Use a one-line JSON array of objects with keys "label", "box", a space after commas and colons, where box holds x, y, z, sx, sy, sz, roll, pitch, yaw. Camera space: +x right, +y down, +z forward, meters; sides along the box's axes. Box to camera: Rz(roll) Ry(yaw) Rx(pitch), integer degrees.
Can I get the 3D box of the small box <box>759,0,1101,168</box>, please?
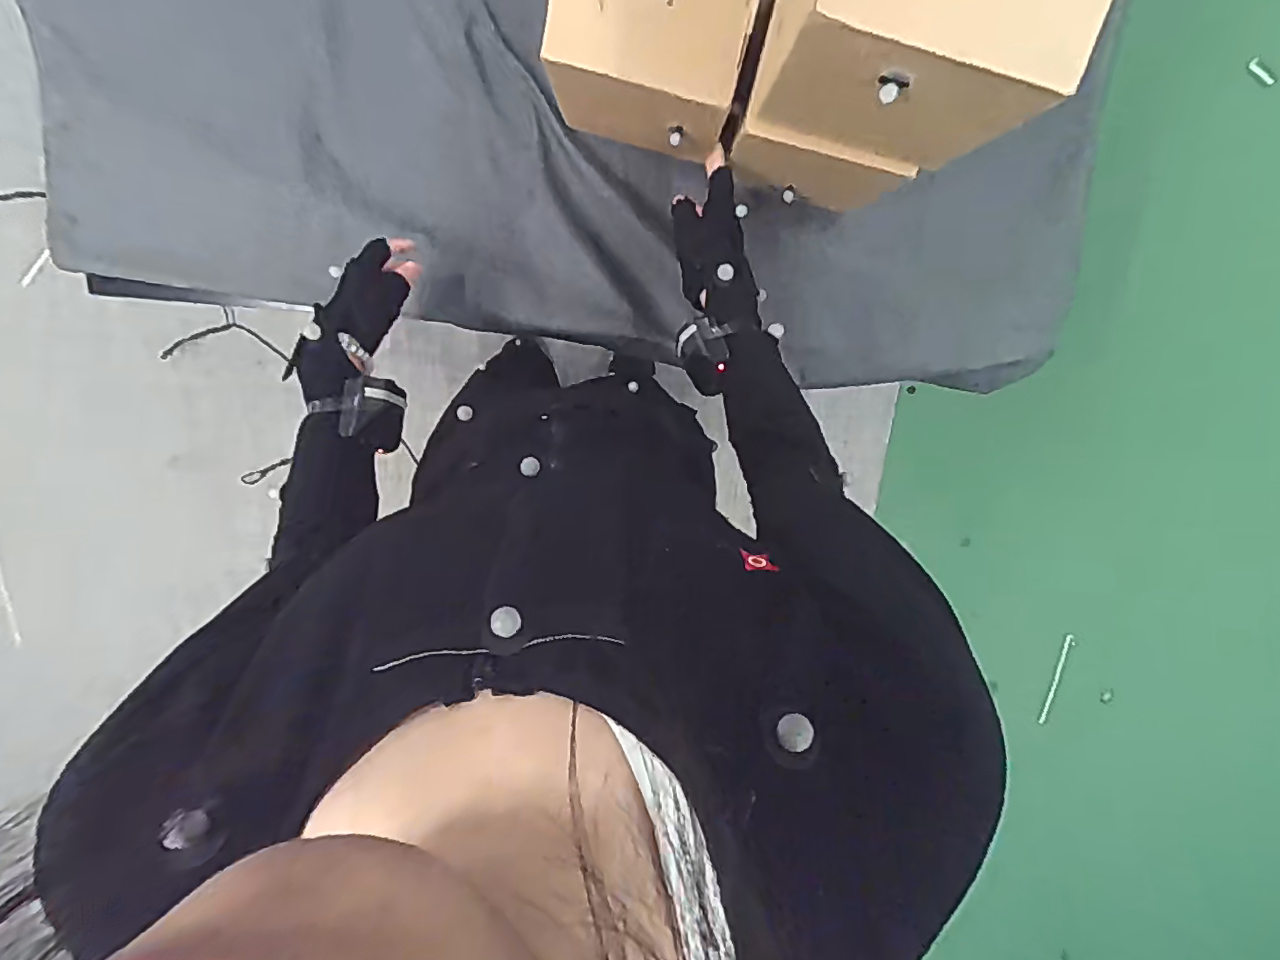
[{"label": "small box", "box": [0.203, -0.355, 0.395, 0.179, 0.176, 0.168, 13, 105, -4]}]
